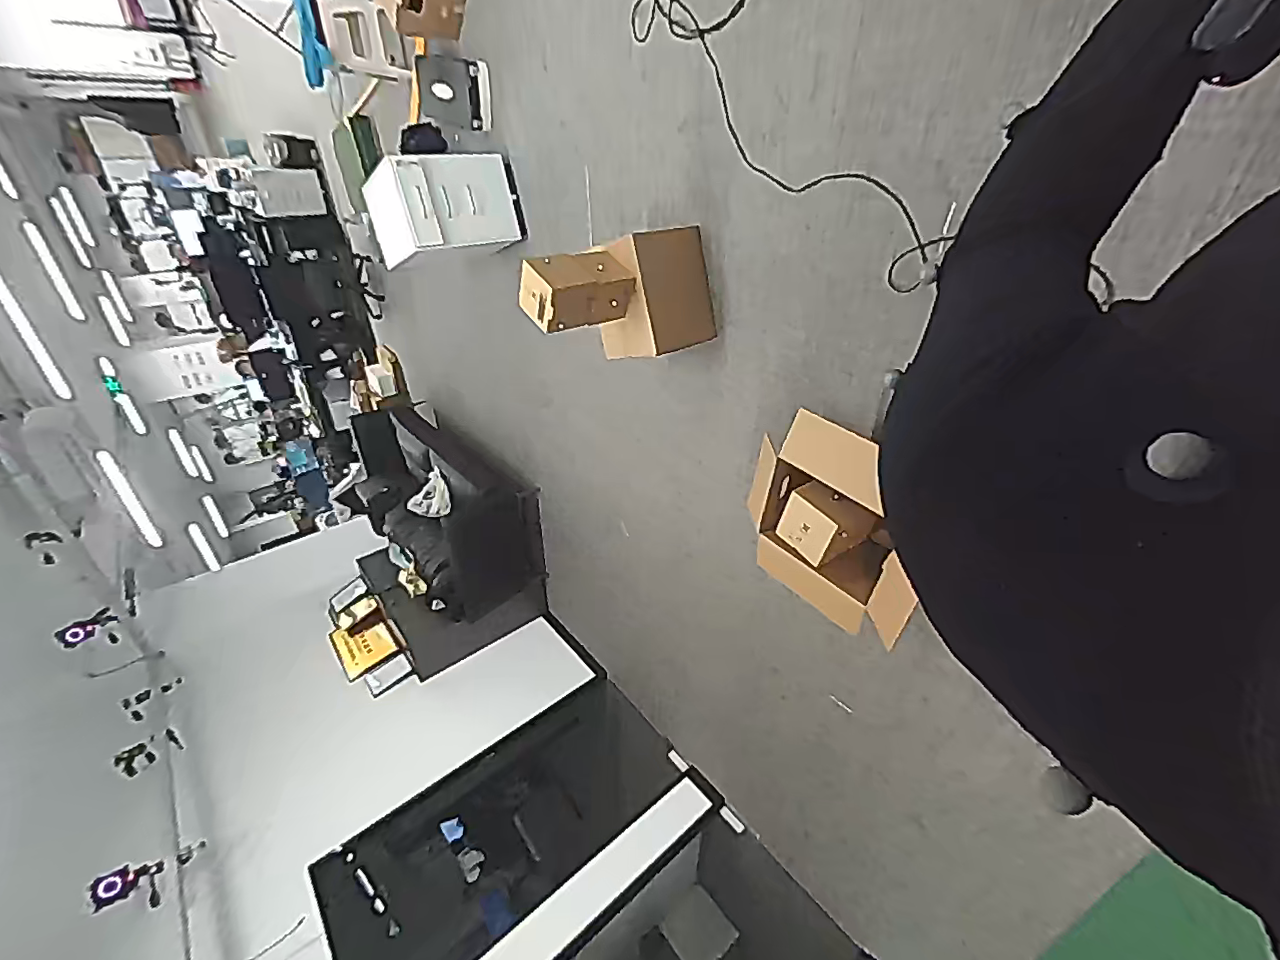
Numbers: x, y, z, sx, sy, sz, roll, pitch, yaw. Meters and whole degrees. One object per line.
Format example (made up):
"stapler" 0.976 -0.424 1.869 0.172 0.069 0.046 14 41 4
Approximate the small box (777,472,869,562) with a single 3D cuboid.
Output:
"small box" 0.542 0.103 1.593 0.168 0.176 0.179 45 142 35

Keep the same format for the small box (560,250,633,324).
"small box" -0.147 -0.668 1.854 0.179 0.176 0.168 47 142 22
